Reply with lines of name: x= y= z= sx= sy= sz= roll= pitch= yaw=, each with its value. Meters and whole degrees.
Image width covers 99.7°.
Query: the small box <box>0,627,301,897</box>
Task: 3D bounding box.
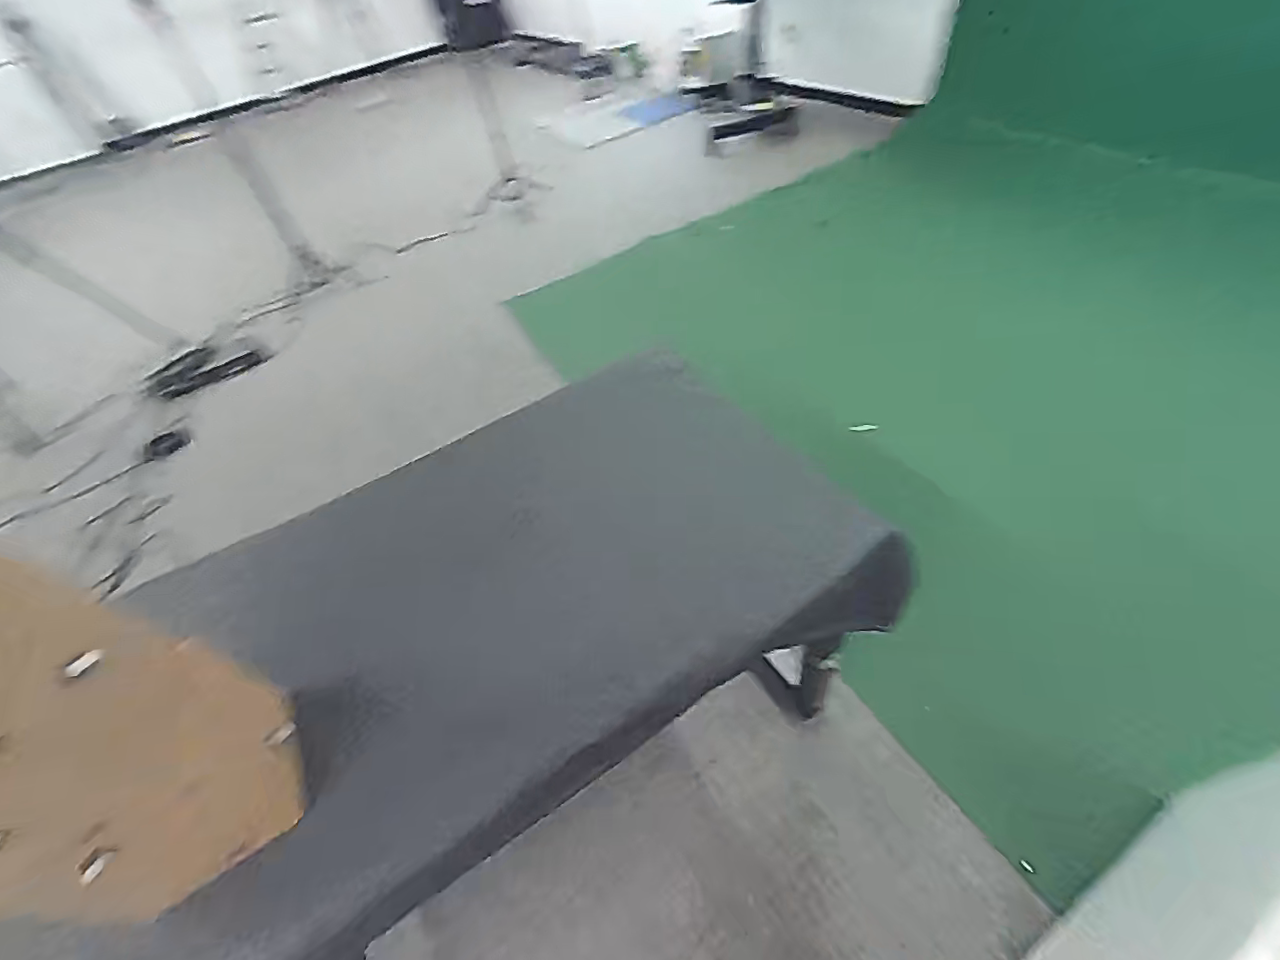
small box: x=-0.500 y=0.301 z=0.580 sx=0.168 sy=0.176 sz=0.179 roll=-30 pitch=50 yaw=-16
